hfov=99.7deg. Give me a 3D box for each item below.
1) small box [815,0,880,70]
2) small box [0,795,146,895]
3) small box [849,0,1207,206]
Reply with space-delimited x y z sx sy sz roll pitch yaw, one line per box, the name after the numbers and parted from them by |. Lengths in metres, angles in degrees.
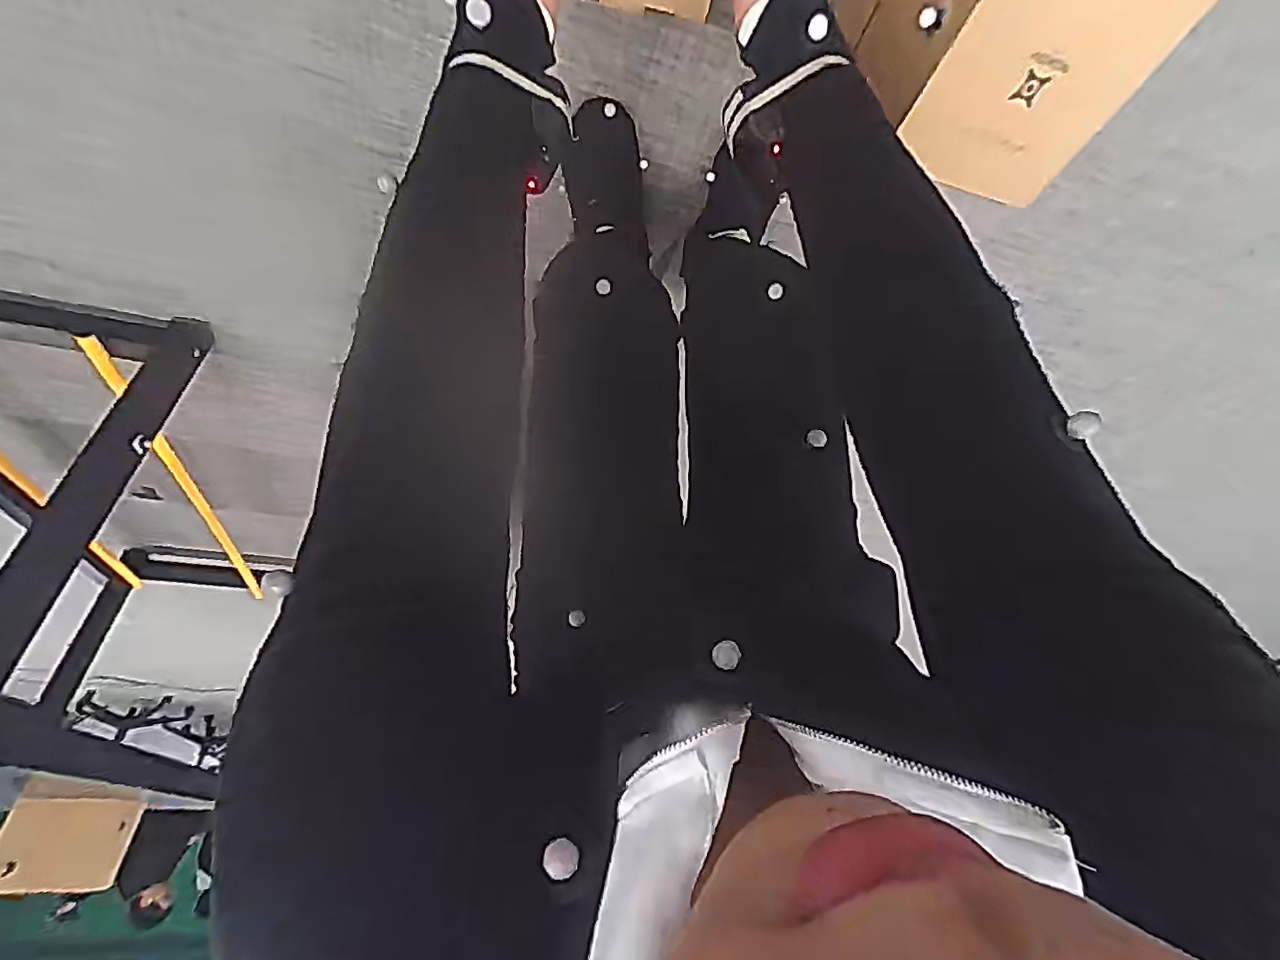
0.311 -0.521 0.565 0.179 0.176 0.168 10 146 -18 | small box
-1.238 0.786 1.169 0.179 0.176 0.168 10 145 -16 | small box
0.309 -0.386 0.473 0.168 0.176 0.179 9 147 -13 | small box
